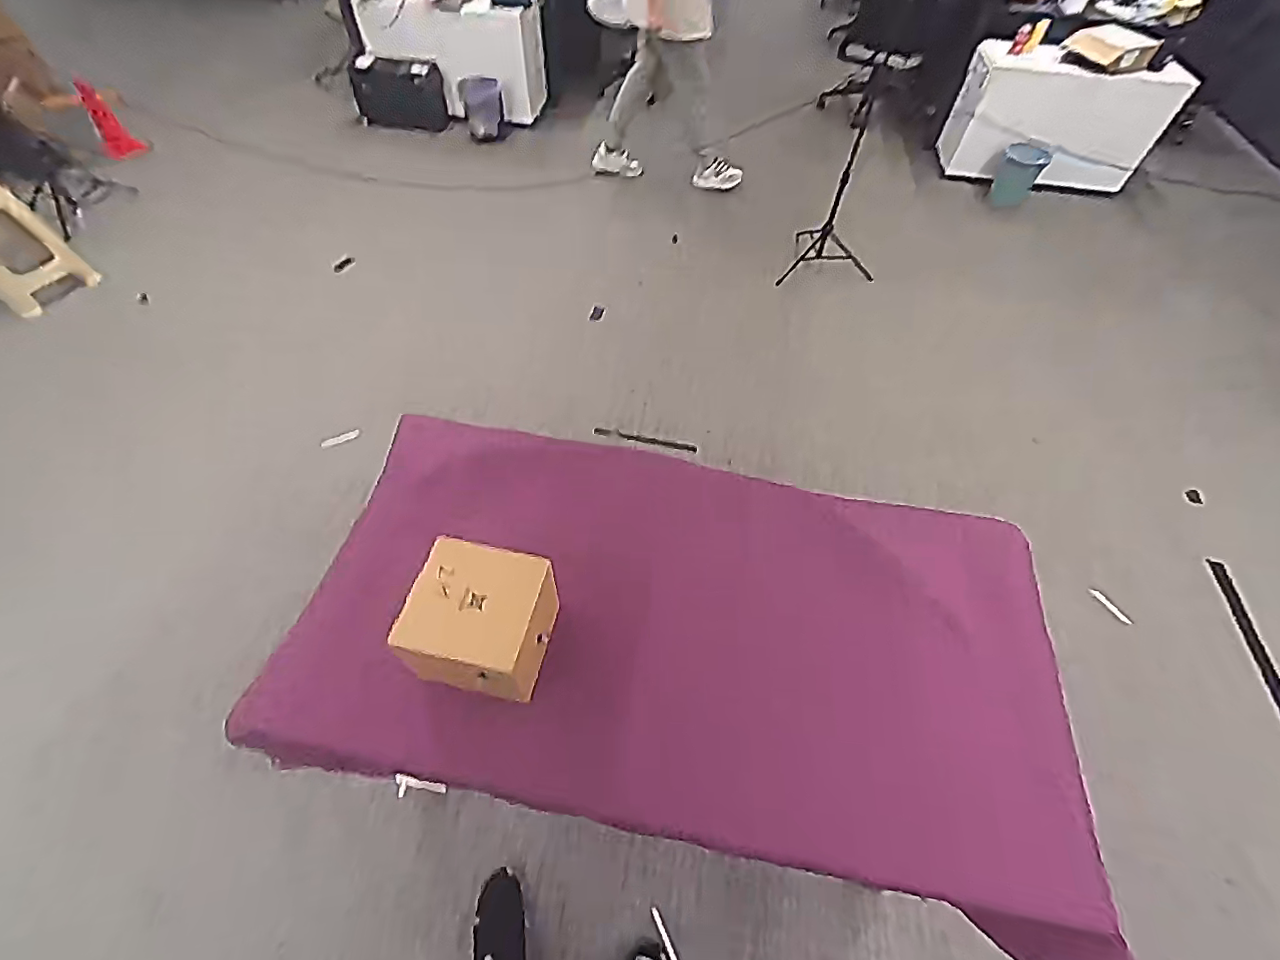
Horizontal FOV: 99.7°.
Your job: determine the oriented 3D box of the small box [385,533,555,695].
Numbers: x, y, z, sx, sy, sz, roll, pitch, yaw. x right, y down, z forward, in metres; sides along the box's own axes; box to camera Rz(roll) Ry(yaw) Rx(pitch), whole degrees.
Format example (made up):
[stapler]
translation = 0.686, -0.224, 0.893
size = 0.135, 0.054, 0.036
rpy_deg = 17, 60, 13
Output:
[small box]
translation = -0.233, 0.204, 0.804
size = 0.179, 0.176, 0.168
rpy_deg = 12, 55, 5
